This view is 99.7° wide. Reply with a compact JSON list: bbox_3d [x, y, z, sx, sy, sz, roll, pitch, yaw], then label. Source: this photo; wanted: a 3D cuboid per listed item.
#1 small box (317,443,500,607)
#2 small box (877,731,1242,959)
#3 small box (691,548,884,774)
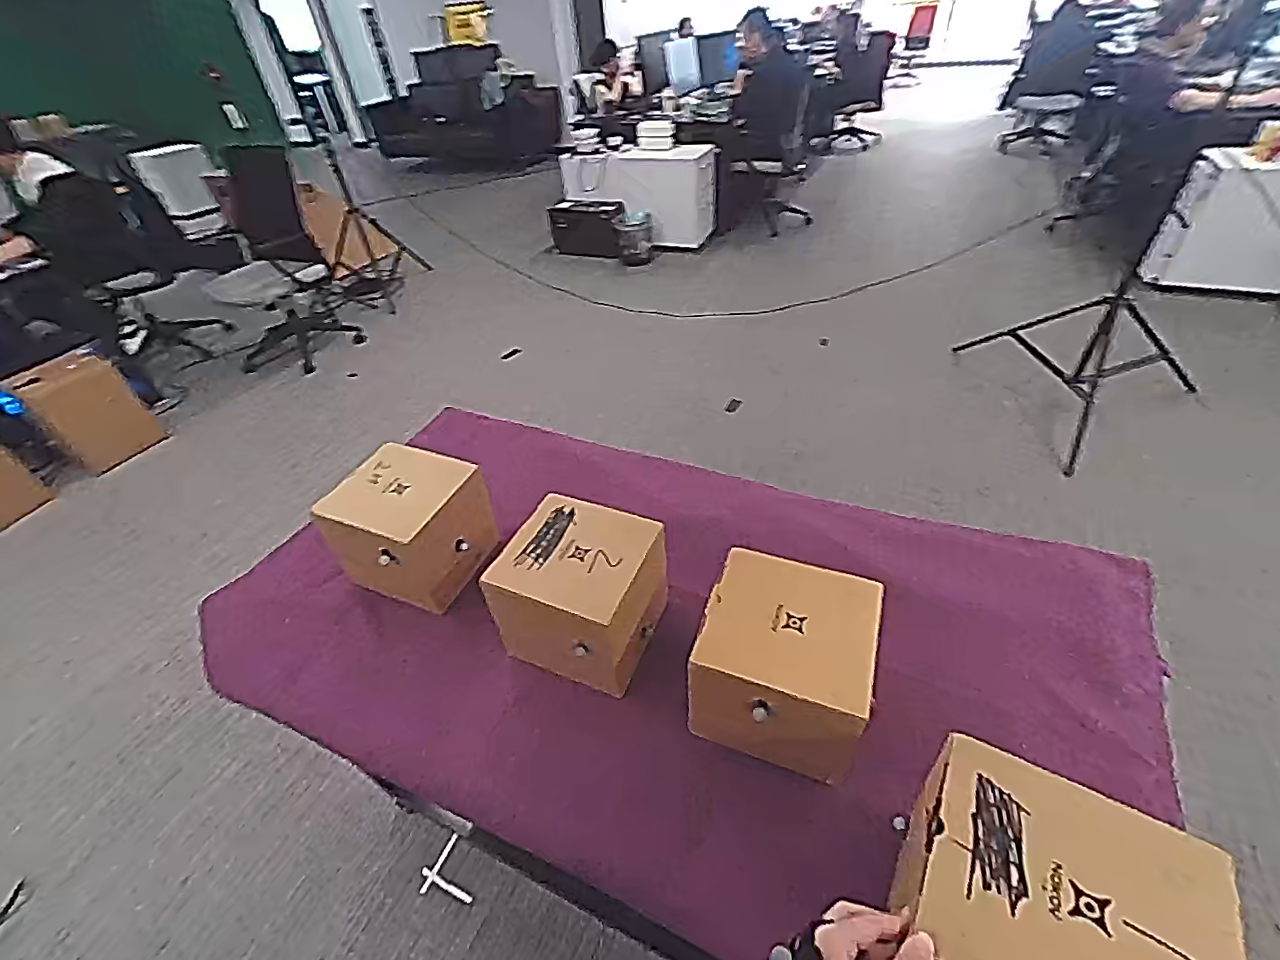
[{"bbox_3d":[-0.343,0.072,0.840,0.179,0.176,0.168,14,45,18],"label":"small box"},{"bbox_3d":[0.300,0.342,0.415,0.179,0.176,0.168,19,45,29],"label":"small box"},{"bbox_3d":[0.168,0.212,0.632,0.179,0.176,0.168,12,44,20],"label":"small box"}]
